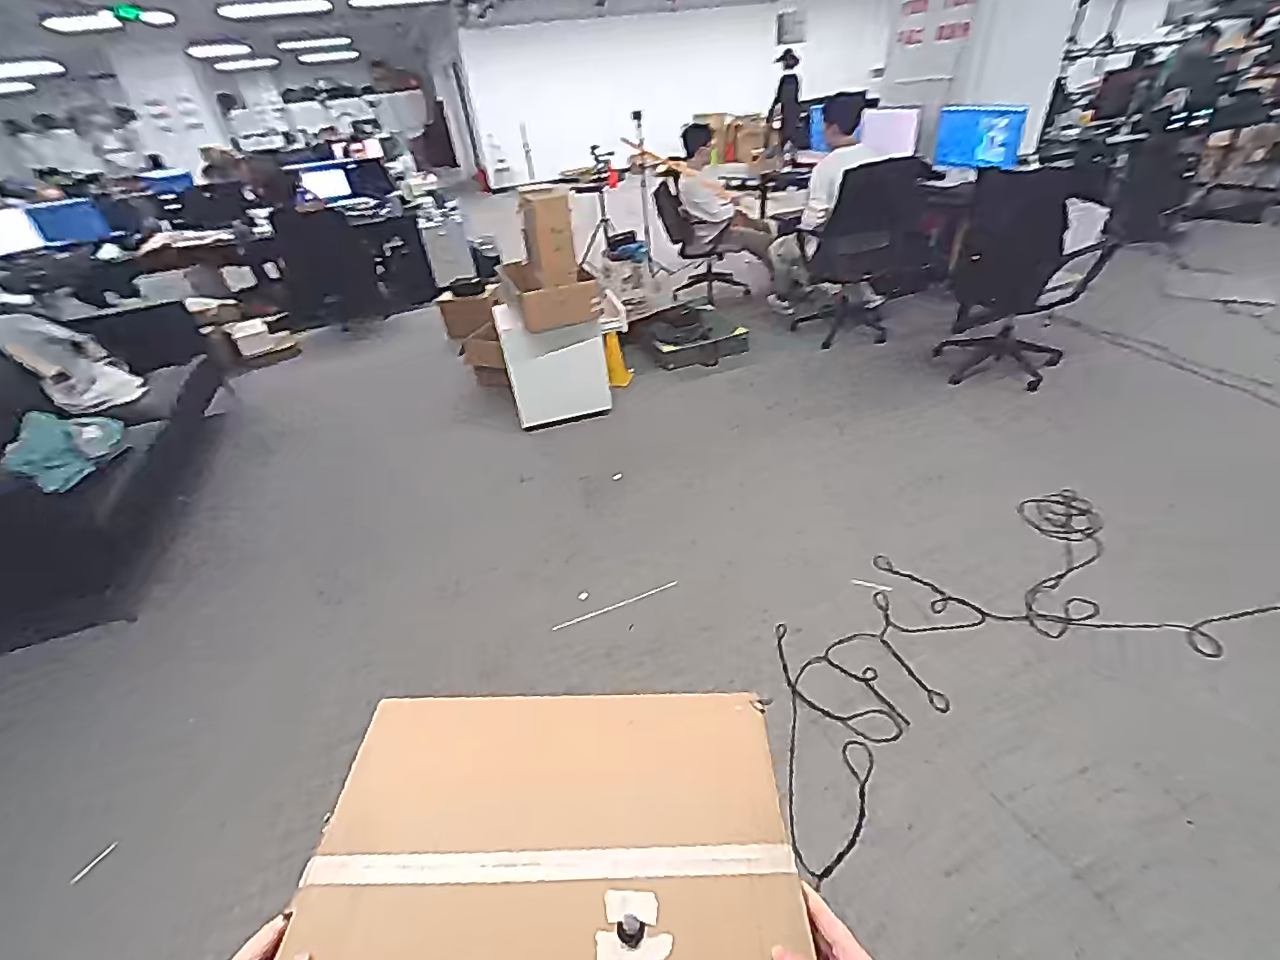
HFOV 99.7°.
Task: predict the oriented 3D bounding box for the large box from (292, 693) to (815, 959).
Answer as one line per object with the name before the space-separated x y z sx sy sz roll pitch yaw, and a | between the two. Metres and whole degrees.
large box | -0.068 0.444 0.552 0.408 0.320 0.320 0 36 -1
